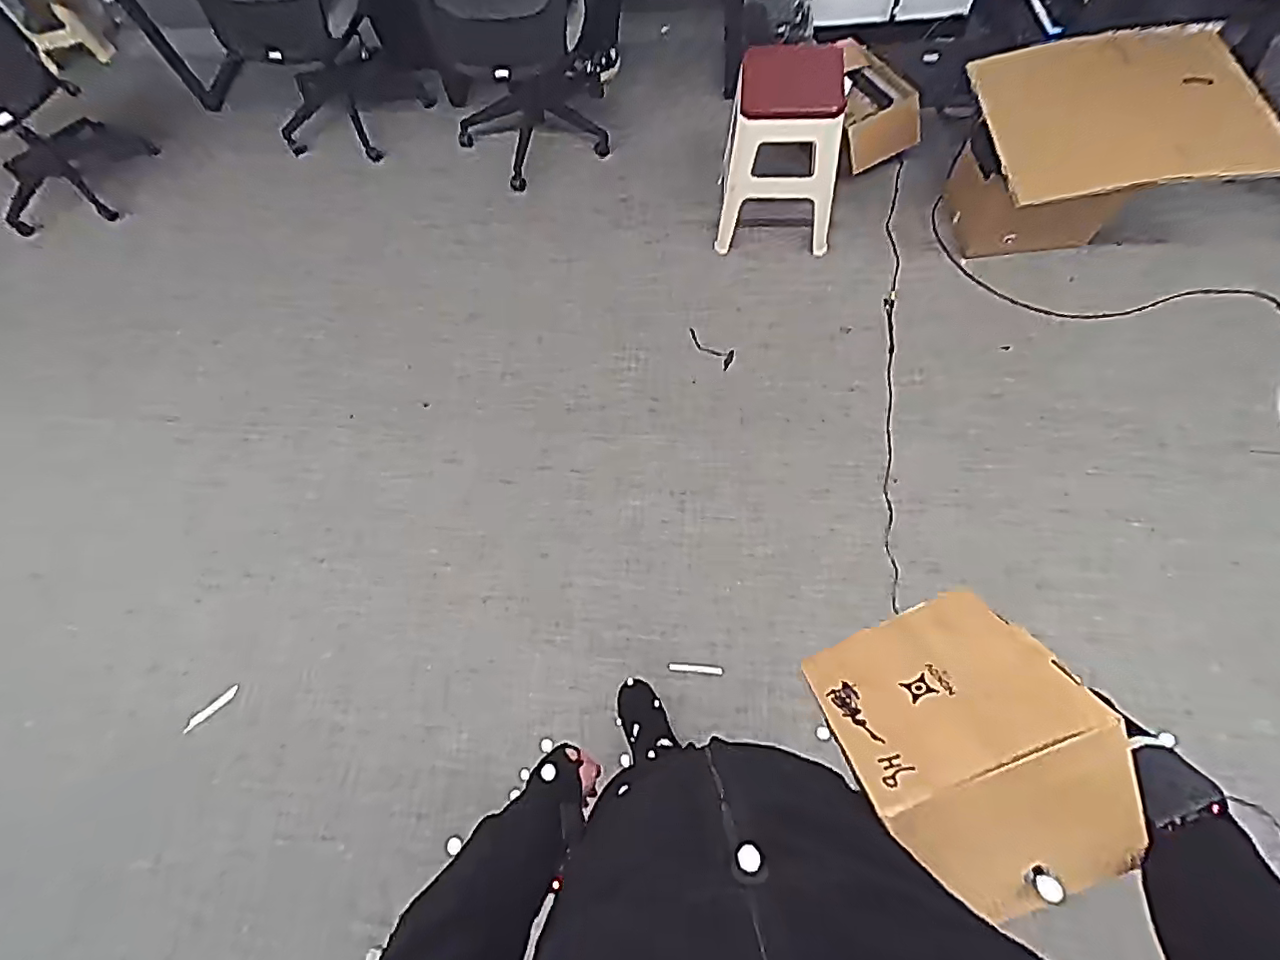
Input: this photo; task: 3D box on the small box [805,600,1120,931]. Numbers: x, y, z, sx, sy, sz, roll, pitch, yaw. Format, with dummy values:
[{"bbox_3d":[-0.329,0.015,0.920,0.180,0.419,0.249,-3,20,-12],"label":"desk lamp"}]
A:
[{"bbox_3d":[0.280,0.247,0.486,0.179,0.168,0.176,-26,110,5],"label":"small box"}]
